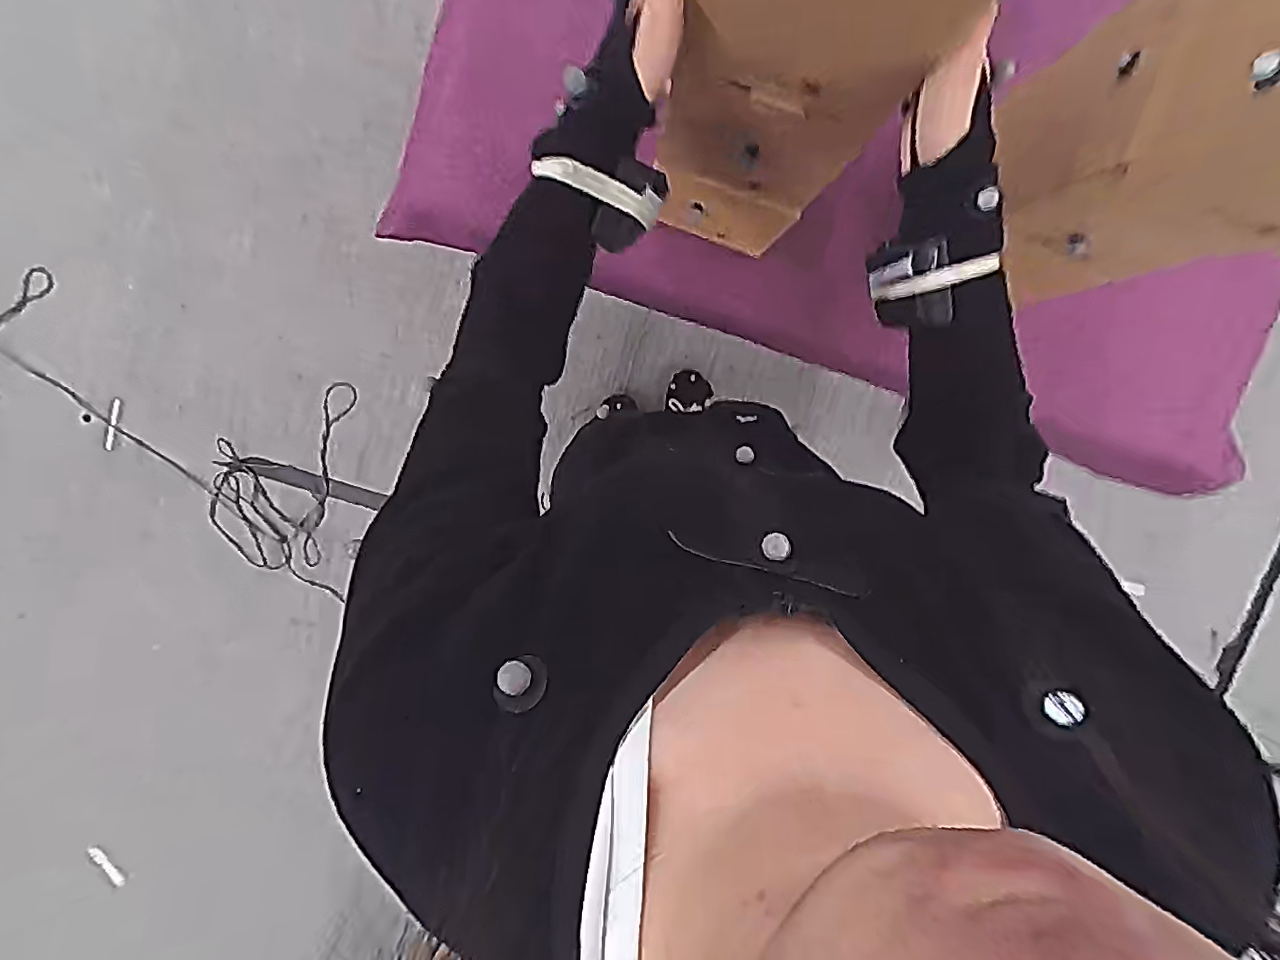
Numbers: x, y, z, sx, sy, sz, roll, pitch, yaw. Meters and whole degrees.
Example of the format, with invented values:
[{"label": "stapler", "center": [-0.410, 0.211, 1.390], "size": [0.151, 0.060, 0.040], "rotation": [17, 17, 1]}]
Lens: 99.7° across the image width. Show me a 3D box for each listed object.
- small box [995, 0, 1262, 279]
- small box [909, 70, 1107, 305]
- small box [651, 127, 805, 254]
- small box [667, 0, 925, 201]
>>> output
[{"label": "small box", "center": [0.479, -0.313, 0.499], "size": [0.168, 0.176, 0.179], "rotation": [20, 97, -5]}, {"label": "small box", "center": [0.466, -0.334, 0.662], "size": [0.168, 0.176, 0.179], "rotation": [20, 96, -6]}, {"label": "small box", "center": [0.116, -0.392, 0.636], "size": [0.168, 0.176, 0.179], "rotation": [18, 96, -6]}, {"label": "small box", "center": [0.126, -0.377, 0.473], "size": [0.168, 0.176, 0.179], "rotation": [16, 97, -5]}]
